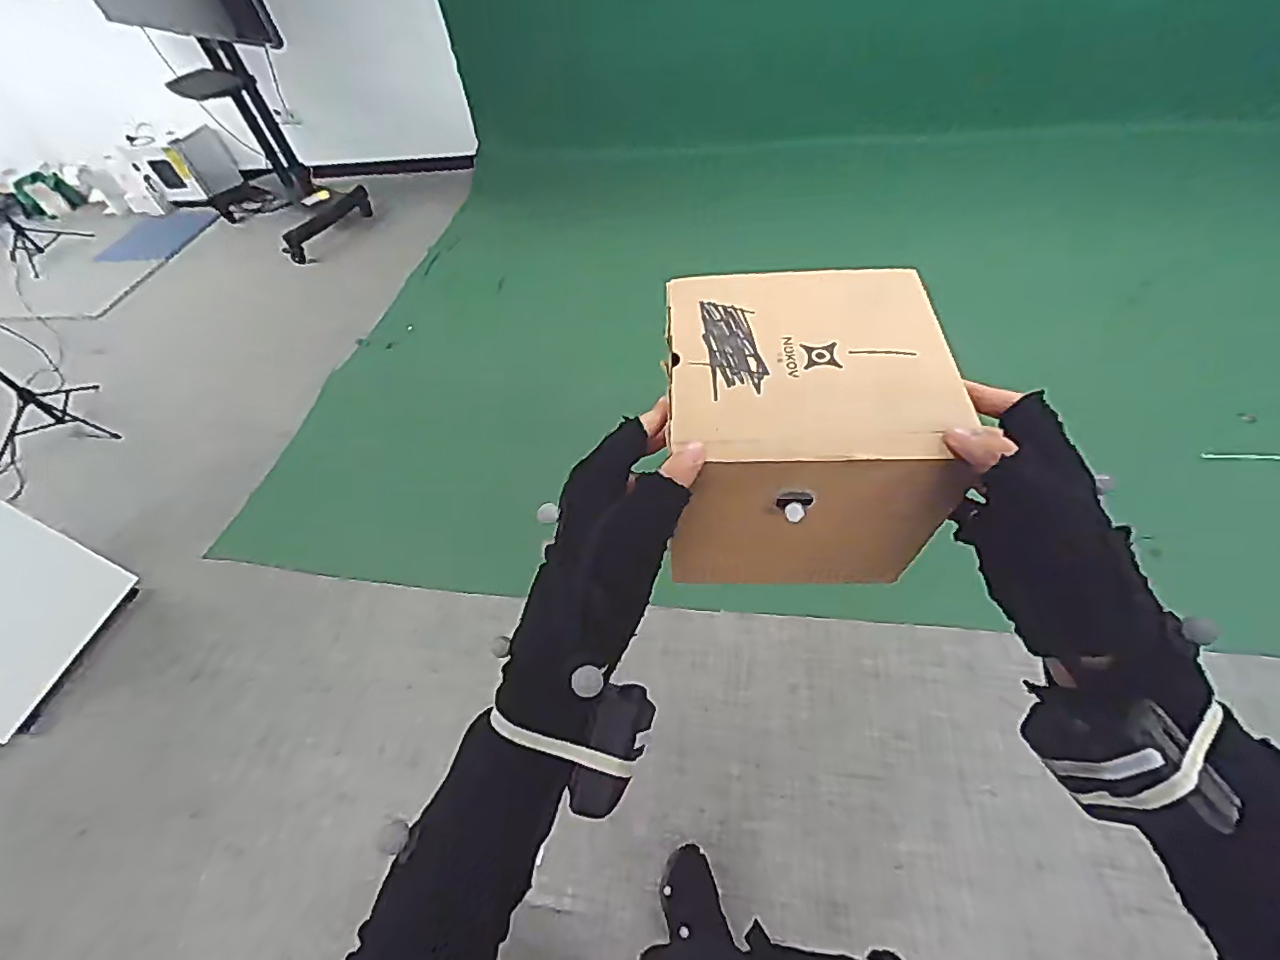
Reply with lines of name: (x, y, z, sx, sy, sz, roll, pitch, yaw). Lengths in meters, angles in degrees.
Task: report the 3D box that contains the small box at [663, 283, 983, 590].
small box: (0.109, -0.025, 0.408, 0.179, 0.176, 0.168, 0, 55, 4)
